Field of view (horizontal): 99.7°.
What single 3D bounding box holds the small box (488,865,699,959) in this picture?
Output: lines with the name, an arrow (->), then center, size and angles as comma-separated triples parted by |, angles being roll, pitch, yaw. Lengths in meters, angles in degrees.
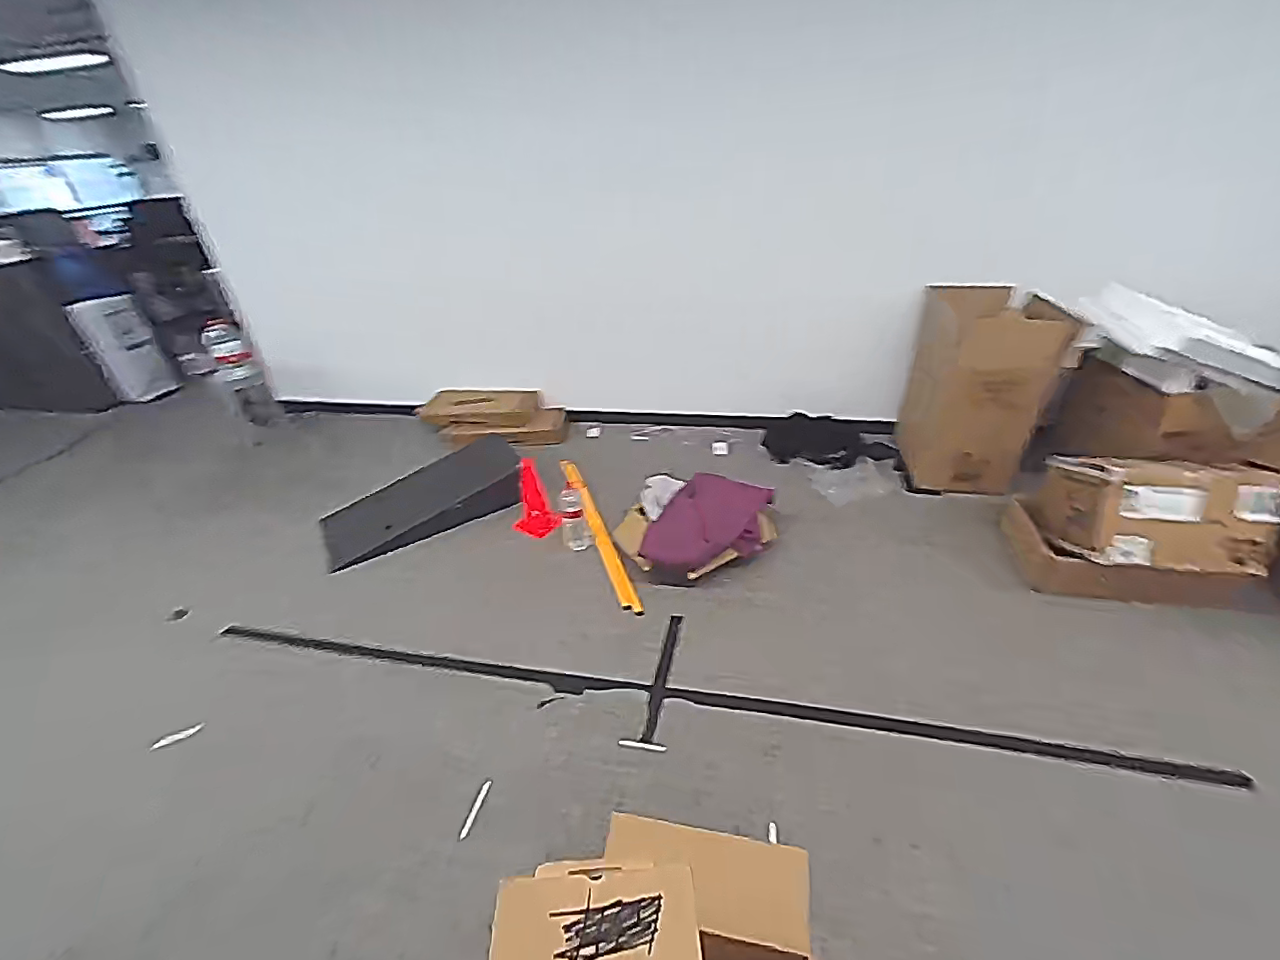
small box -> -0.034, 0.451, 0.440 | 0.168, 0.176, 0.179 | -4, 38, -3
